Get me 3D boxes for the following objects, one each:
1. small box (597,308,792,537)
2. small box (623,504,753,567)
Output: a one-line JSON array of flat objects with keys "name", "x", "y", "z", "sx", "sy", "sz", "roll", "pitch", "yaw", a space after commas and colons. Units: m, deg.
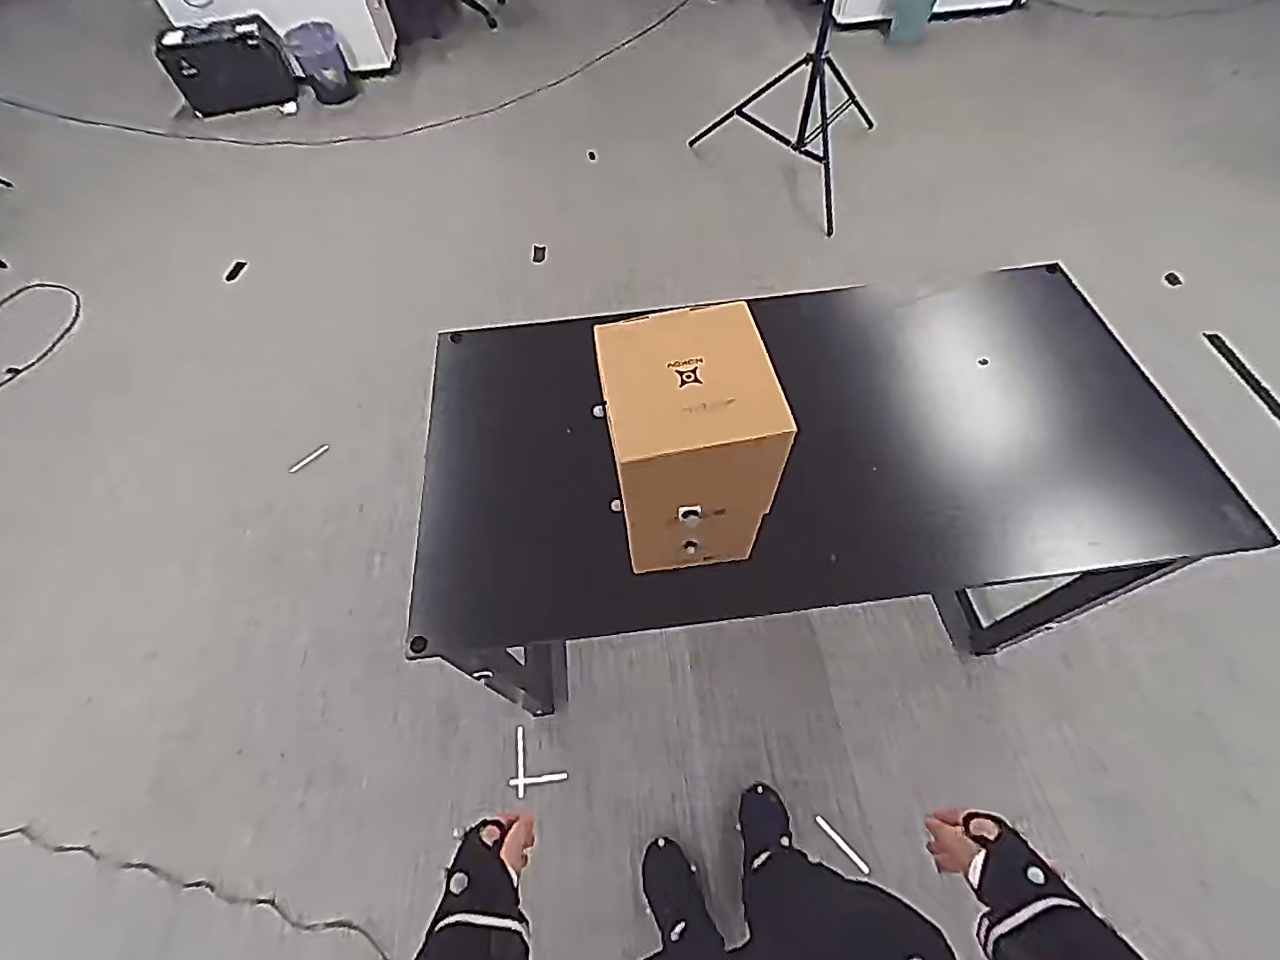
[{"name": "small box", "x": 0.050, "y": -0.058, "z": 0.604, "sx": 0.168, "sy": 0.176, "sz": 0.179, "roll": -11, "pitch": 61, "yaw": -2}, {"name": "small box", "x": 0.059, "y": 0.011, "z": 0.752, "sx": 0.168, "sy": 0.176, "sz": 0.179, "roll": -7, "pitch": 59, "yaw": -2}]
